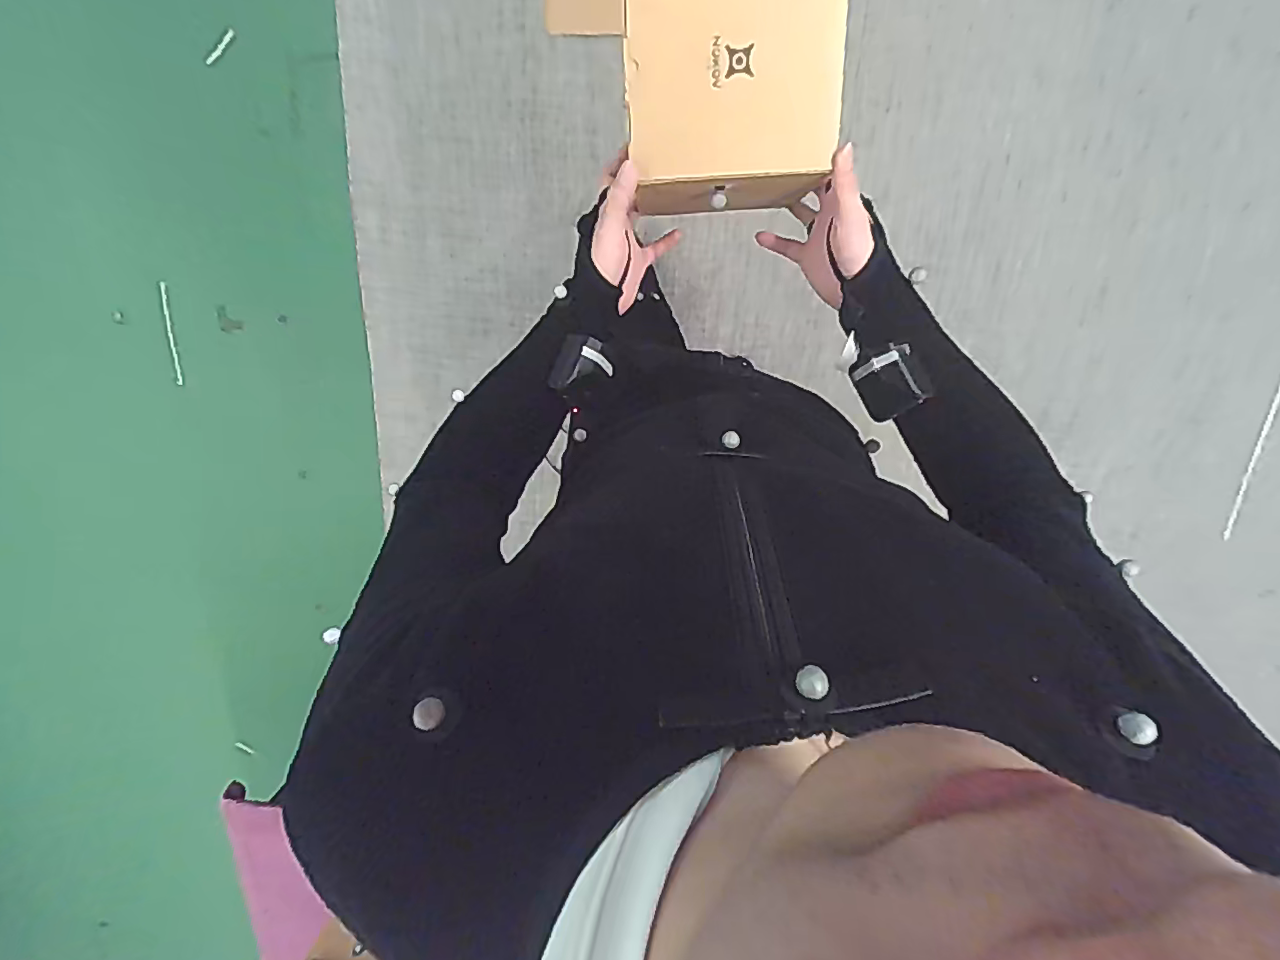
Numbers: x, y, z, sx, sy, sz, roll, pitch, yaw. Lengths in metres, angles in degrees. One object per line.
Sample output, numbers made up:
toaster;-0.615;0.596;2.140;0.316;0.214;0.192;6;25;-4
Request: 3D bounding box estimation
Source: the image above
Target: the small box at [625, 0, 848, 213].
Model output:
small box;0.081;-0.358;0.510;0.179;0.176;0.168;-1;107;5
